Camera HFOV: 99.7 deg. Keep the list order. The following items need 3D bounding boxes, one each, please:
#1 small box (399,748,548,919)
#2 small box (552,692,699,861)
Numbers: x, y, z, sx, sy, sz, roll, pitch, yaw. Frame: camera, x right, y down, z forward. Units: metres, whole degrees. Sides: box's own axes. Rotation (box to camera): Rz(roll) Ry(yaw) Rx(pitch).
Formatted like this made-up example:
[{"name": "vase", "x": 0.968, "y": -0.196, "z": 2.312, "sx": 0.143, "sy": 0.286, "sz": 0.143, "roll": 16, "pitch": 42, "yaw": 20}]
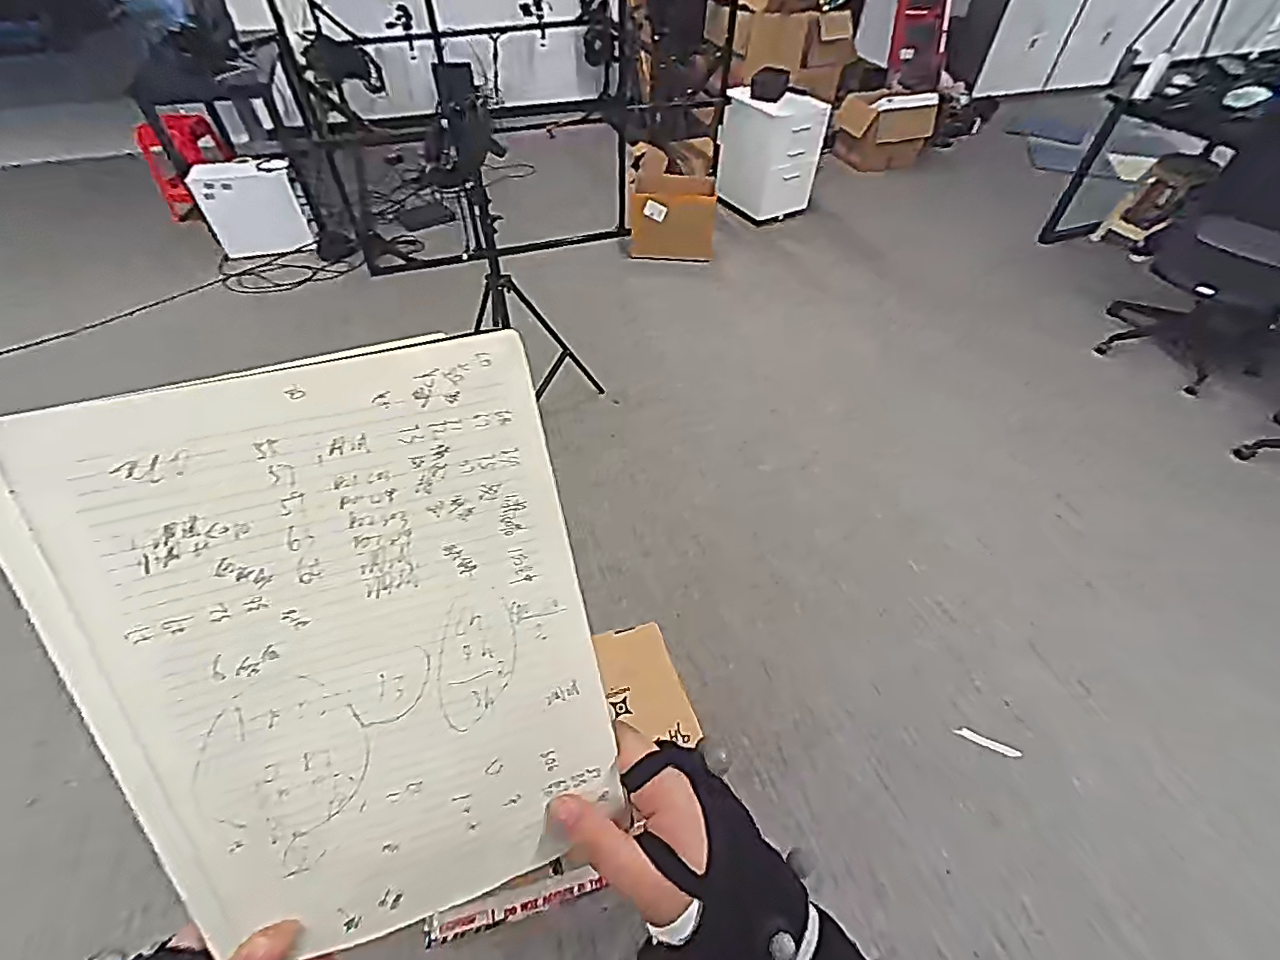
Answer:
[{"name": "small box", "x": -0.233, "y": 0.517, "z": 0.793, "sx": 0.179, "sy": 0.176, "sz": 0.168, "roll": -11, "pitch": 52, "yaw": -8}, {"name": "small box", "x": -0.030, "y": 0.464, "z": 0.845, "sx": 0.179, "sy": 0.176, "sz": 0.168, "roll": -15, "pitch": 52, "yaw": -16}]
